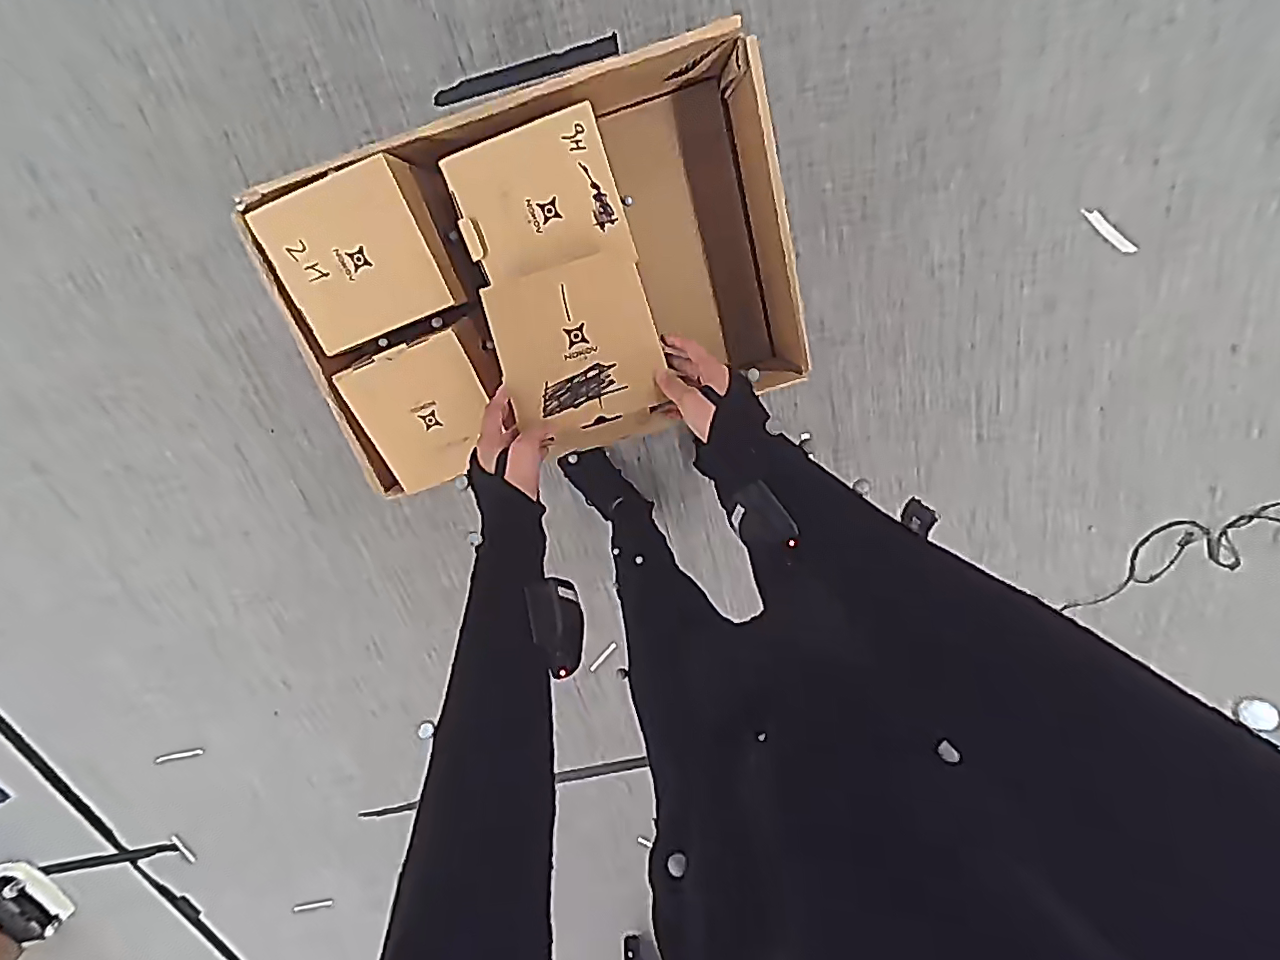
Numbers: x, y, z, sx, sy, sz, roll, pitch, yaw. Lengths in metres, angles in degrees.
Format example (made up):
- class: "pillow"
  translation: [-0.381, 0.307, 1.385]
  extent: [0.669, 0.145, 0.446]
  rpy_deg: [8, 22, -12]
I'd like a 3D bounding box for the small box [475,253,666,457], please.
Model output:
- class: "small box"
  translation: [-0.070, -0.130, 0.638]
  extent: [0.168, 0.176, 0.179]
  rpy_deg: [-16, 87, 0]
